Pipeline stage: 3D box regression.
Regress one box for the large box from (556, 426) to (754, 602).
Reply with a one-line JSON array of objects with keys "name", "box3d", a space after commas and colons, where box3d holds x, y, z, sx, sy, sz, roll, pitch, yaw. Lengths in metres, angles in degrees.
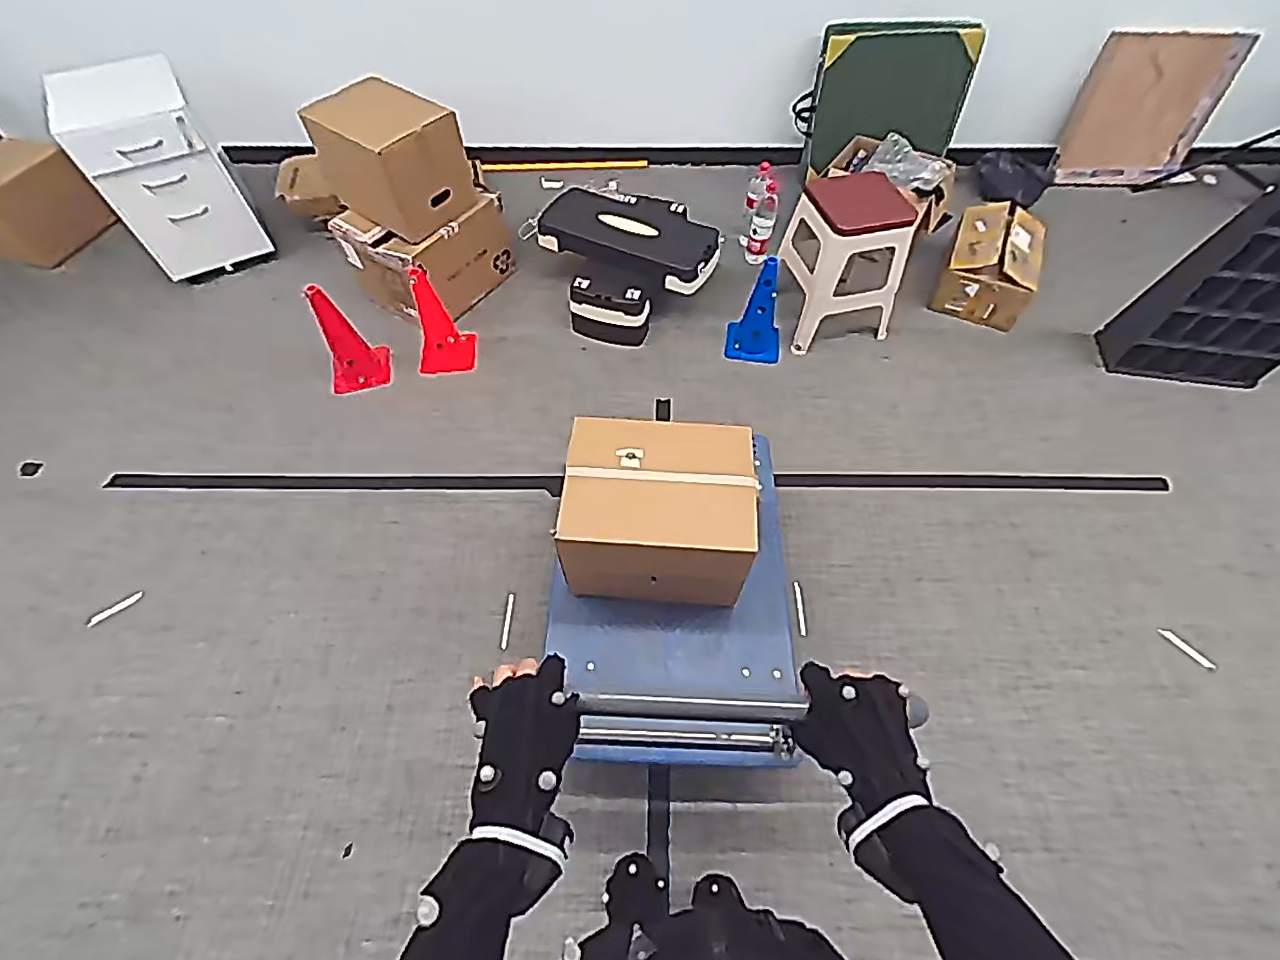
[{"name": "large box", "box3d": [0.040, 0.089, 1.283, 0.408, 0.320, 0.320, 3, 57, 3]}]
